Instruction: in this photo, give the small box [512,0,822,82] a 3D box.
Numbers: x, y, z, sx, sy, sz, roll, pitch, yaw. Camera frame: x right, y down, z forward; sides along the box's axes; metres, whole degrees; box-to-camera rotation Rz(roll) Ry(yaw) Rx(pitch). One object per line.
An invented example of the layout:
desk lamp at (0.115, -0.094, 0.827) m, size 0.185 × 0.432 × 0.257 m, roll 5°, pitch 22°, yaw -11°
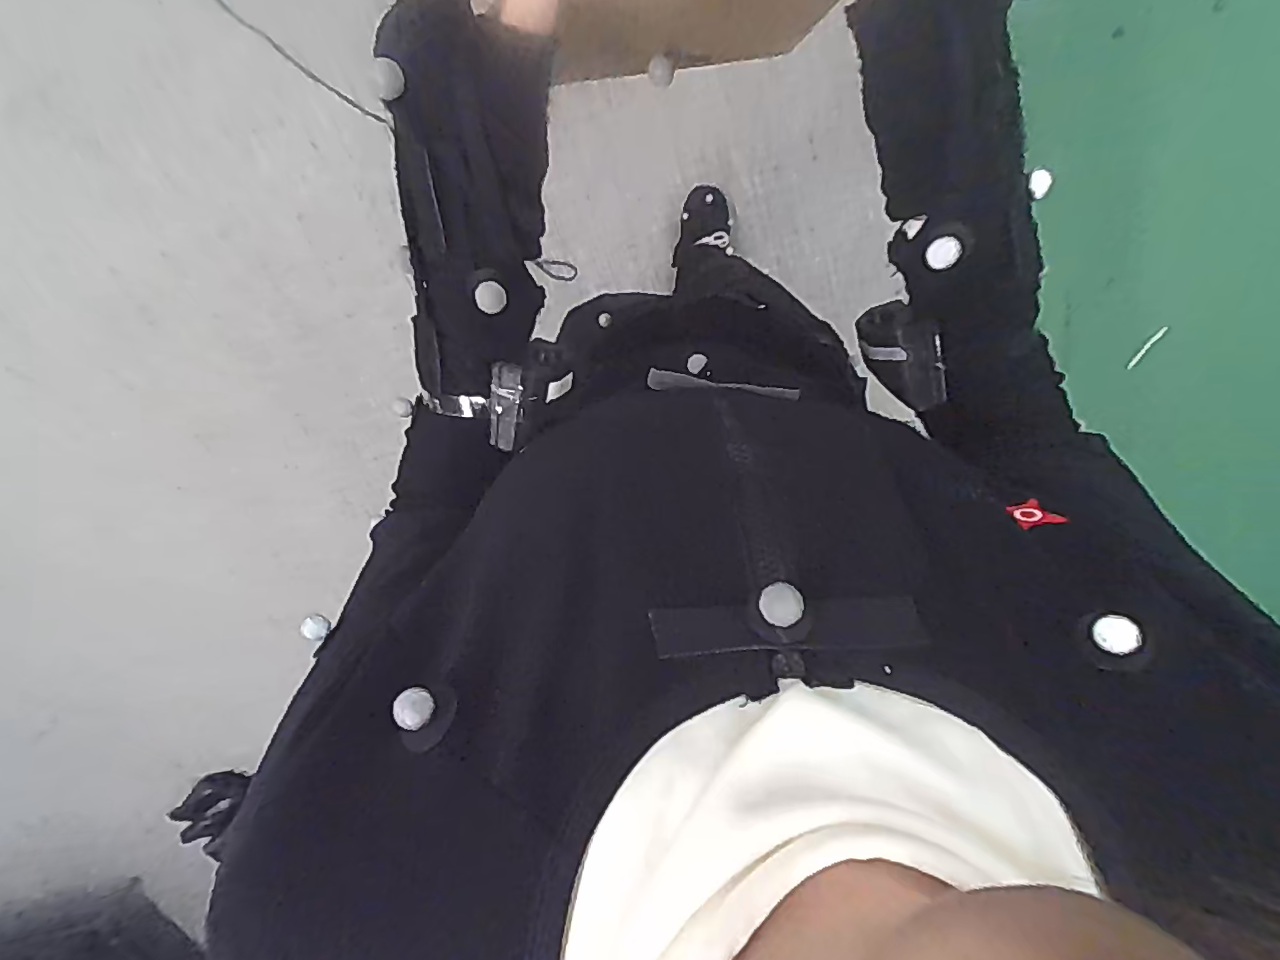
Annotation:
small box at (0.007, -0.317, 0.248) m, size 0.168 × 0.176 × 0.179 m, roll -7°, pitch 115°, yaw 2°
